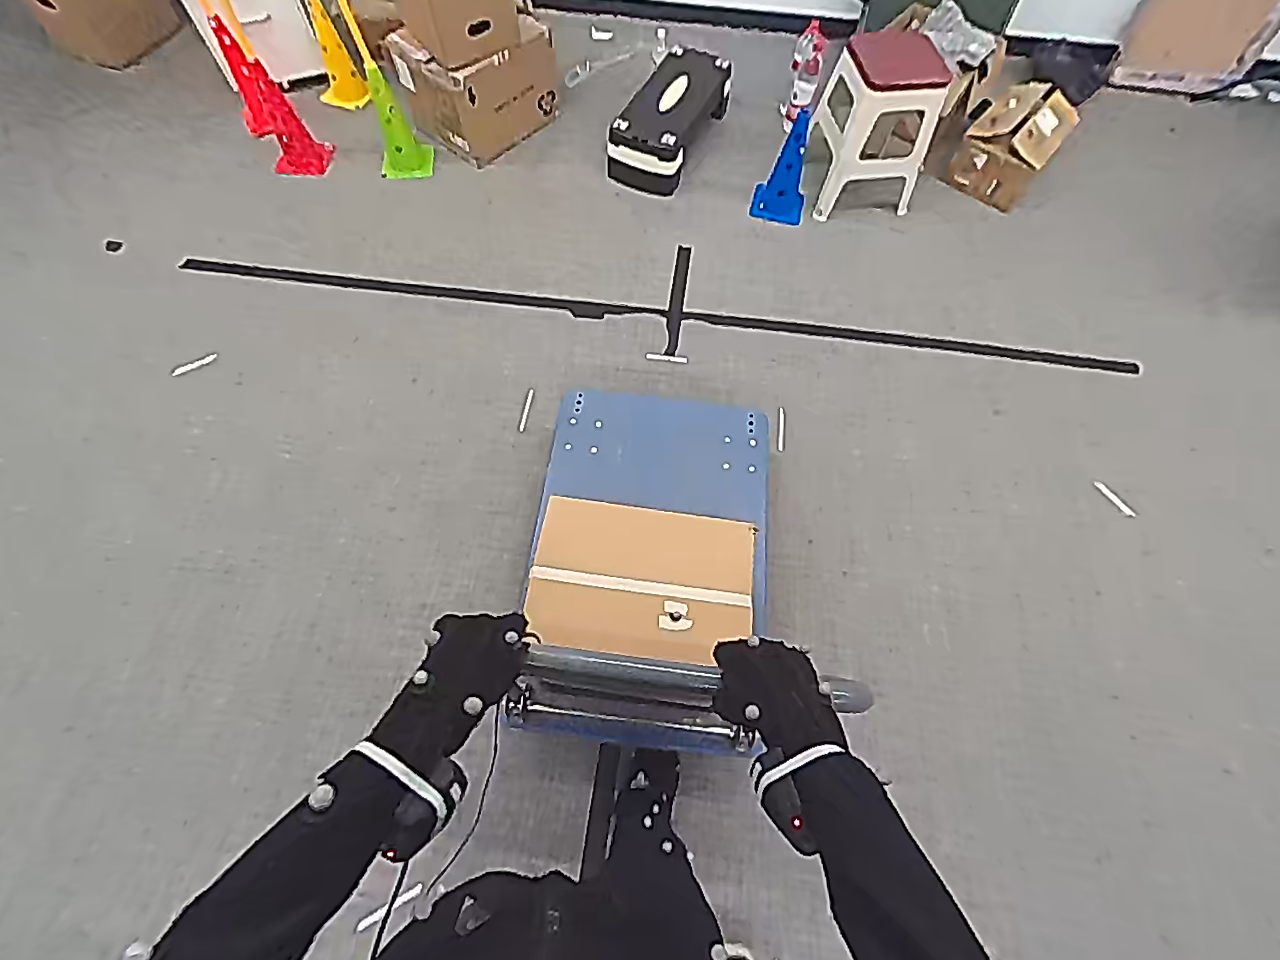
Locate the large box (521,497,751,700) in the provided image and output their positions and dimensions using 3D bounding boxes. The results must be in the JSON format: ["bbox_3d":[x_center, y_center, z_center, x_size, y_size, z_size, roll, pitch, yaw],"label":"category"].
[{"bbox_3d":[-0.006,0.261,1.136,0.408,0.320,0.320,9,64,0],"label":"large box"}]
